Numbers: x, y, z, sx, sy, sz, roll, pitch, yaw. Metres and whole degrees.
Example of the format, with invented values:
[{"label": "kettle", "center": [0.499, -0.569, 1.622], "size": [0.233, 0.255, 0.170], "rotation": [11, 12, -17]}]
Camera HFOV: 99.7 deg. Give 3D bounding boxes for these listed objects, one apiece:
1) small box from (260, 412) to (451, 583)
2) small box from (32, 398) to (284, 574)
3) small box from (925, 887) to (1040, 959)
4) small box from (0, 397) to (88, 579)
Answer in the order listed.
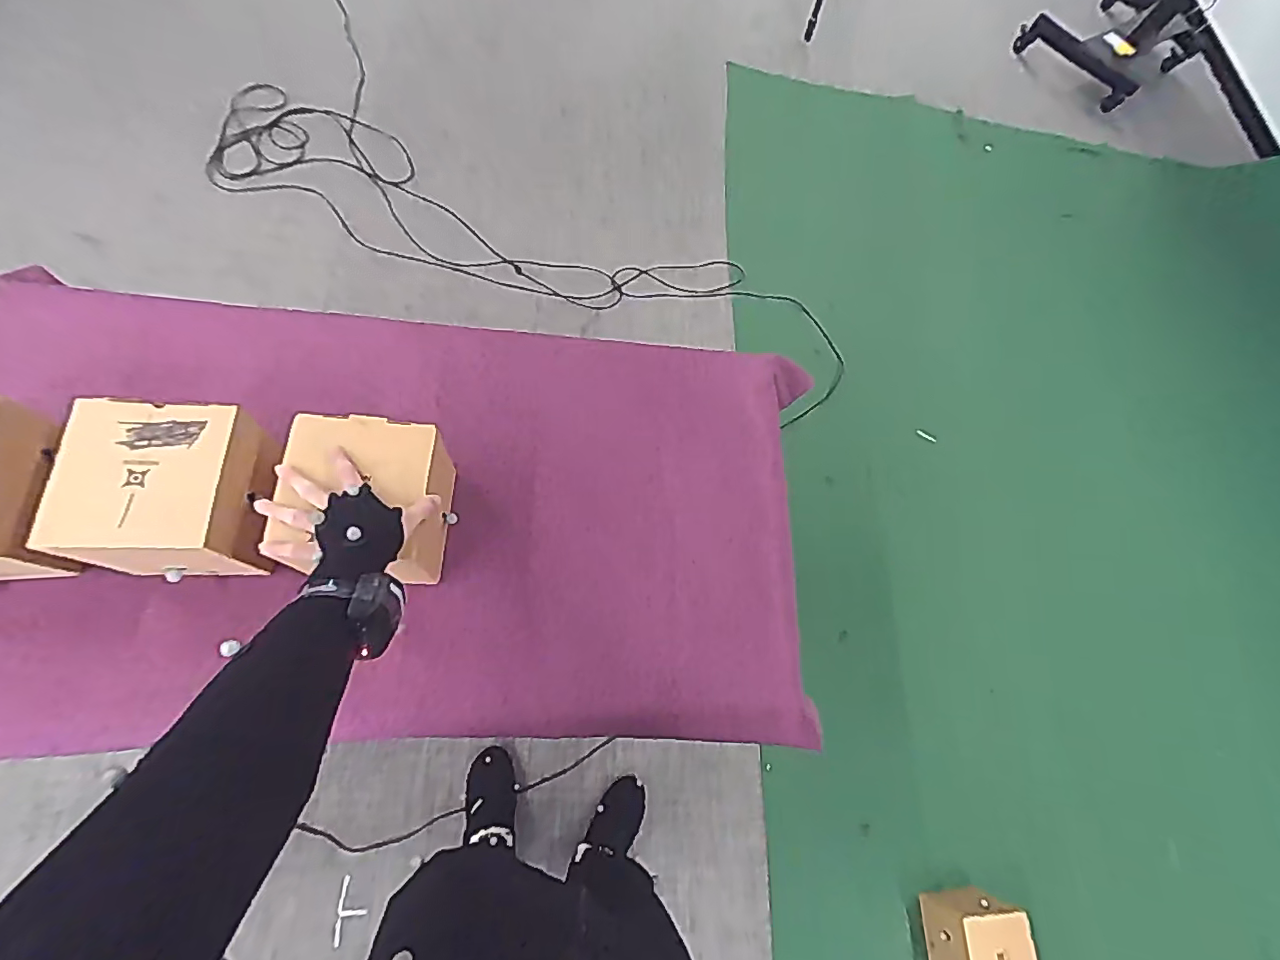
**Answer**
[{"label": "small box", "center": [-0.353, 0.032, 0.713], "size": [0.168, 0.176, 0.179], "rotation": [4, 70, -8]}, {"label": "small box", "center": [-0.572, 0.016, 0.680], "size": [0.168, 0.176, 0.179], "rotation": [2, 71, -9]}, {"label": "small box", "center": [0.822, 1.117, 1.309], "size": [0.179, 0.176, 0.168], "rotation": [3, 70, -10]}, {"label": "small box", "center": [-0.796, 0.016, 0.641], "size": [0.168, 0.176, 0.179], "rotation": [-3, 72, -10]}]
